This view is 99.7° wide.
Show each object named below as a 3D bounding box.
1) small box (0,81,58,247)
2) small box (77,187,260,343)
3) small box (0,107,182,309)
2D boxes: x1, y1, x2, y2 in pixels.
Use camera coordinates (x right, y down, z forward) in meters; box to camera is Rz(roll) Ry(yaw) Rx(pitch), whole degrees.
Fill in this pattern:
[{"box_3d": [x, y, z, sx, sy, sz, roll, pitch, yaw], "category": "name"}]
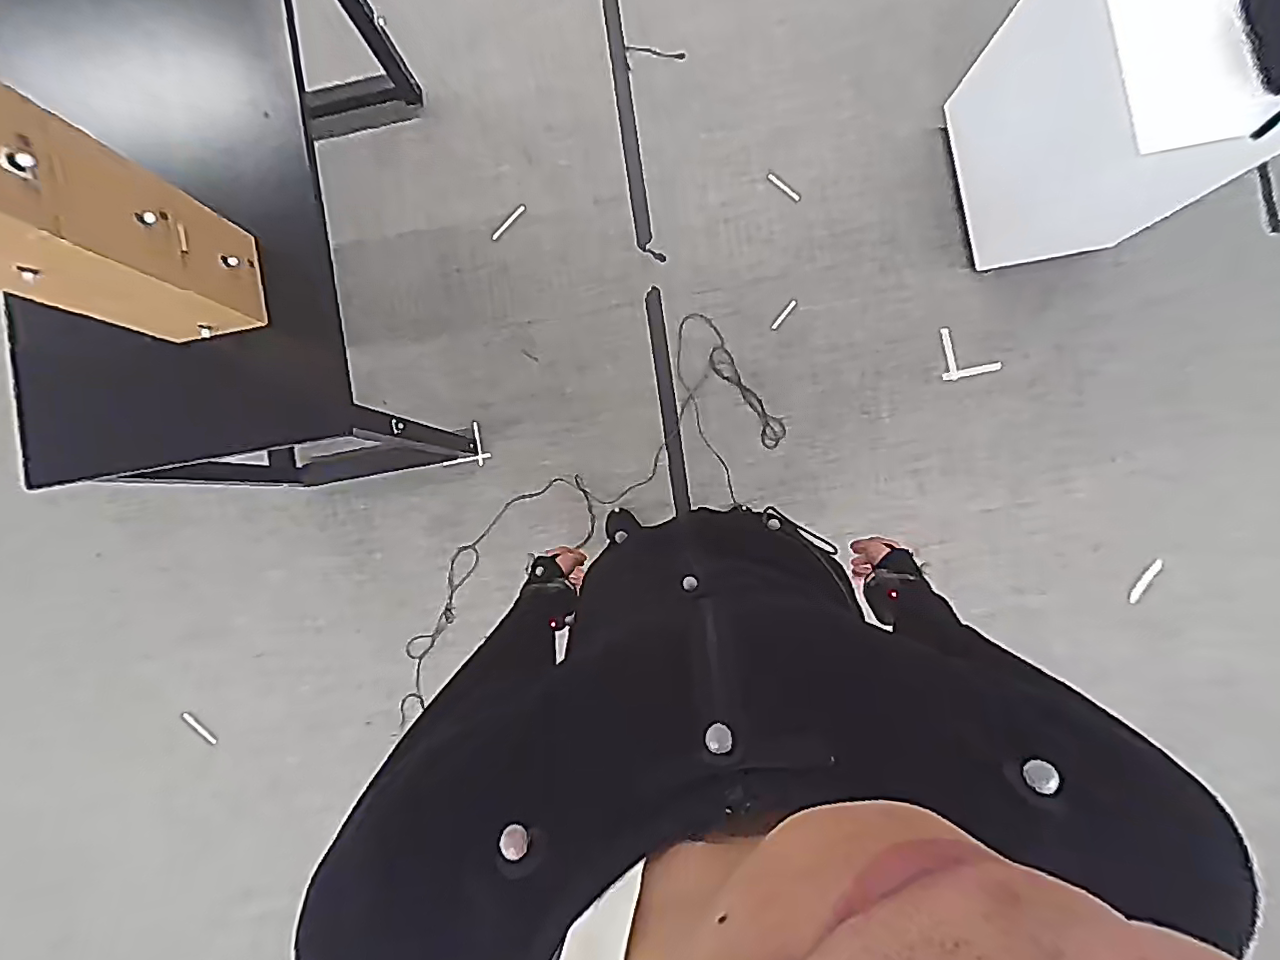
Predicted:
[{"box_3d": [-0.776, -0.348, 0.553, 0.179, 0.176, 0.168, -11, 89, 2], "category": "small box"}, {"box_3d": [-0.759, -0.338, 0.880, 0.179, 0.176, 0.168, -11, 88, 2], "category": "small box"}, {"box_3d": [-0.769, -0.342, 0.716, 0.179, 0.176, 0.168, -10, 88, 2], "category": "small box"}]
